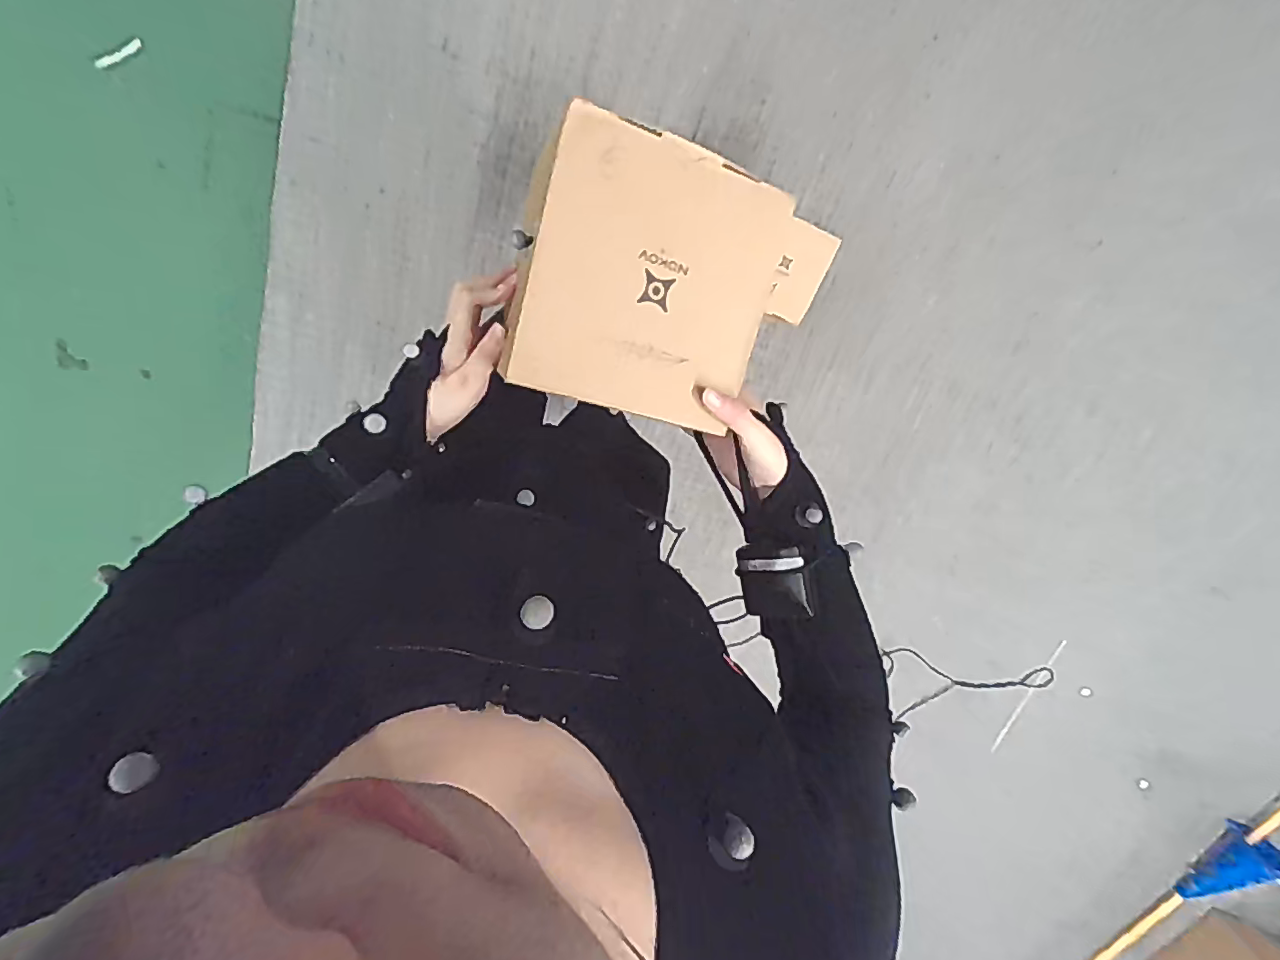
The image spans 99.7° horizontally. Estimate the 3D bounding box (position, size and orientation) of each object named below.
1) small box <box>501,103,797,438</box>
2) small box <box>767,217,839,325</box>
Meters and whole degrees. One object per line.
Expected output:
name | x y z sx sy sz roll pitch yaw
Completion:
small box | -0.010 -0.150 0.440 0.168 0.176 0.179 12 101 -22
small box | 0.269 -0.440 1.112 0.168 0.176 0.179 21 108 -9
